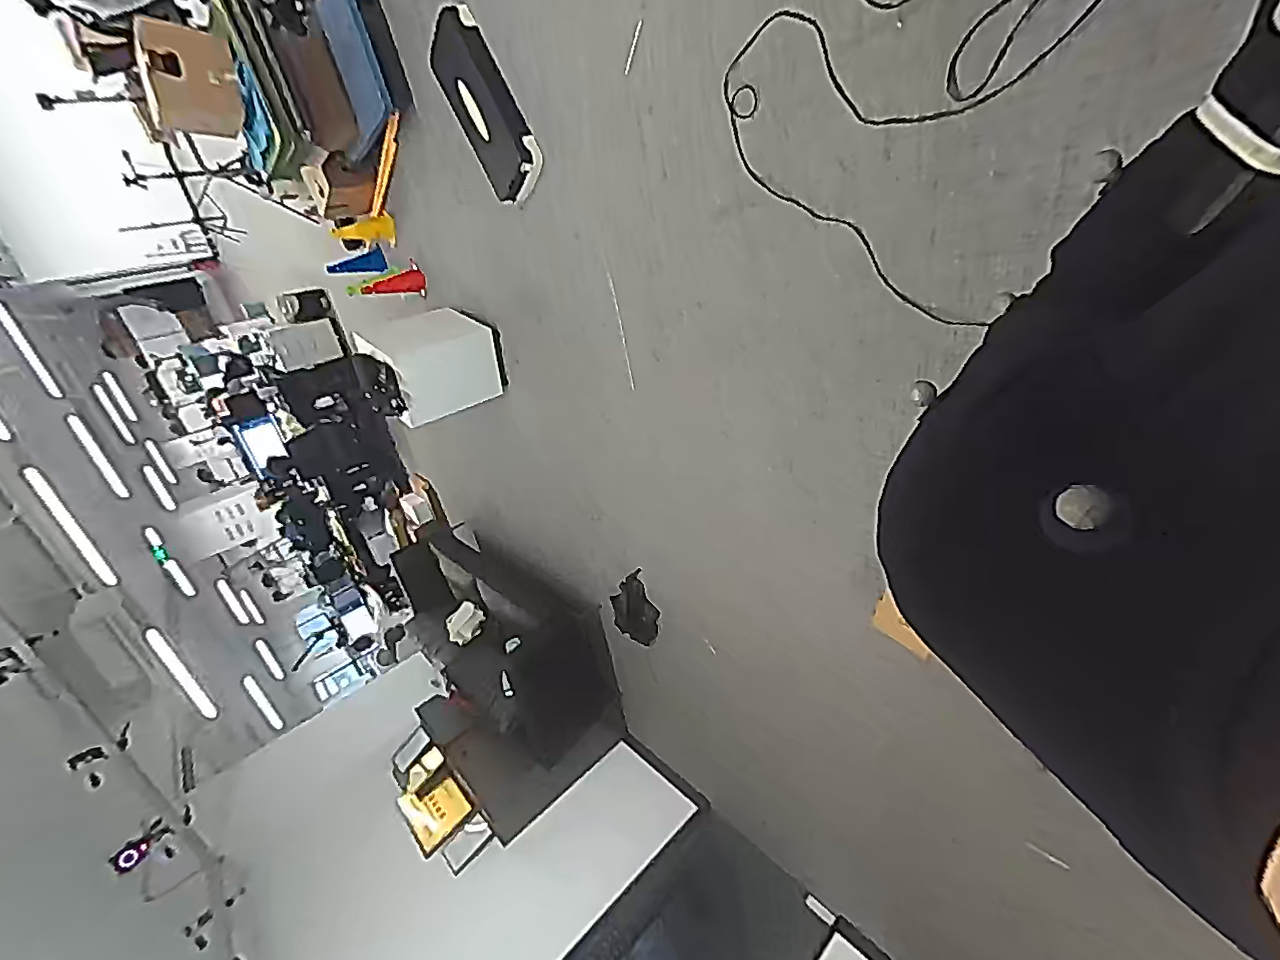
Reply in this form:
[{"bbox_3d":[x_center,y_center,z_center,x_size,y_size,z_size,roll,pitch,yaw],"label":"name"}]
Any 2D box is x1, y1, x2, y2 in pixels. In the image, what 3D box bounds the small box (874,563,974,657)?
[{"bbox_3d":[0.823,0.368,1.570,0.179,0.176,0.168,34,139,34],"label":"small box"}]
